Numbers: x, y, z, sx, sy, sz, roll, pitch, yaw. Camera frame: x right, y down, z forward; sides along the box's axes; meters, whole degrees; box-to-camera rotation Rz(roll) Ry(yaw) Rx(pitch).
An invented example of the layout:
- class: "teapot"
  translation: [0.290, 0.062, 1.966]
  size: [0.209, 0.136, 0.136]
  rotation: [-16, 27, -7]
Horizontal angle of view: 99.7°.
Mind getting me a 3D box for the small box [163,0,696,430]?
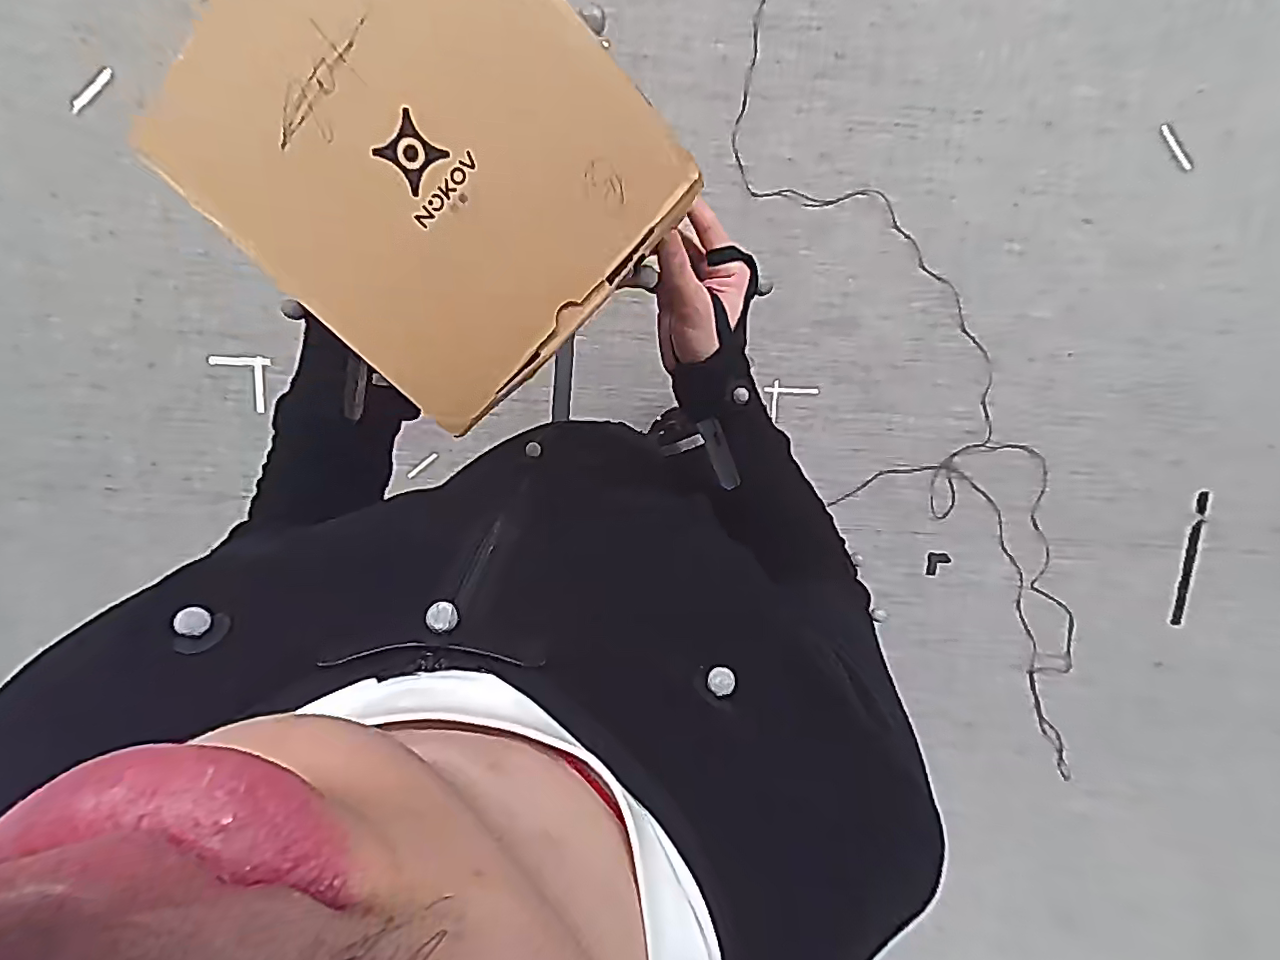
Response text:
- class: "small box"
  translation: [-0.089, -0.161, 0.309]
  size: [0.179, 0.176, 0.168]
  rotation: [43, 105, -13]
